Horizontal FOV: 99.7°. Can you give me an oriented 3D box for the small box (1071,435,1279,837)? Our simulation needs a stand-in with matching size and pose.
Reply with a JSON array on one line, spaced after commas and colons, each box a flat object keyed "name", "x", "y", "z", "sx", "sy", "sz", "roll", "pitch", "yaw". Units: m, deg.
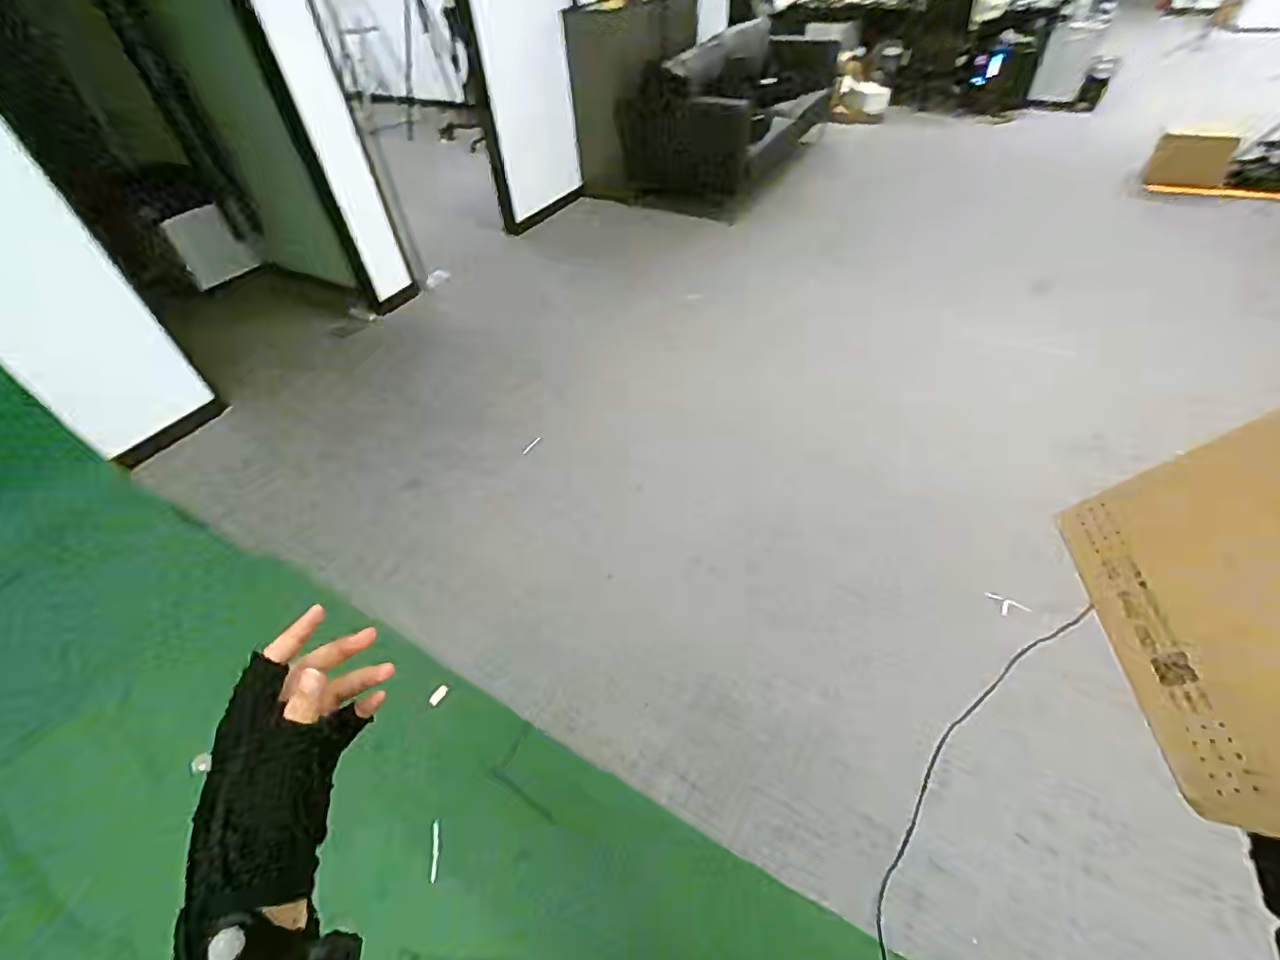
[{"name": "small box", "x": 0.364, "y": 0.074, "z": 0.255, "sx": 0.179, "sy": 0.176, "sz": 0.168, "roll": 22, "pitch": 50, "yaw": -18}]
